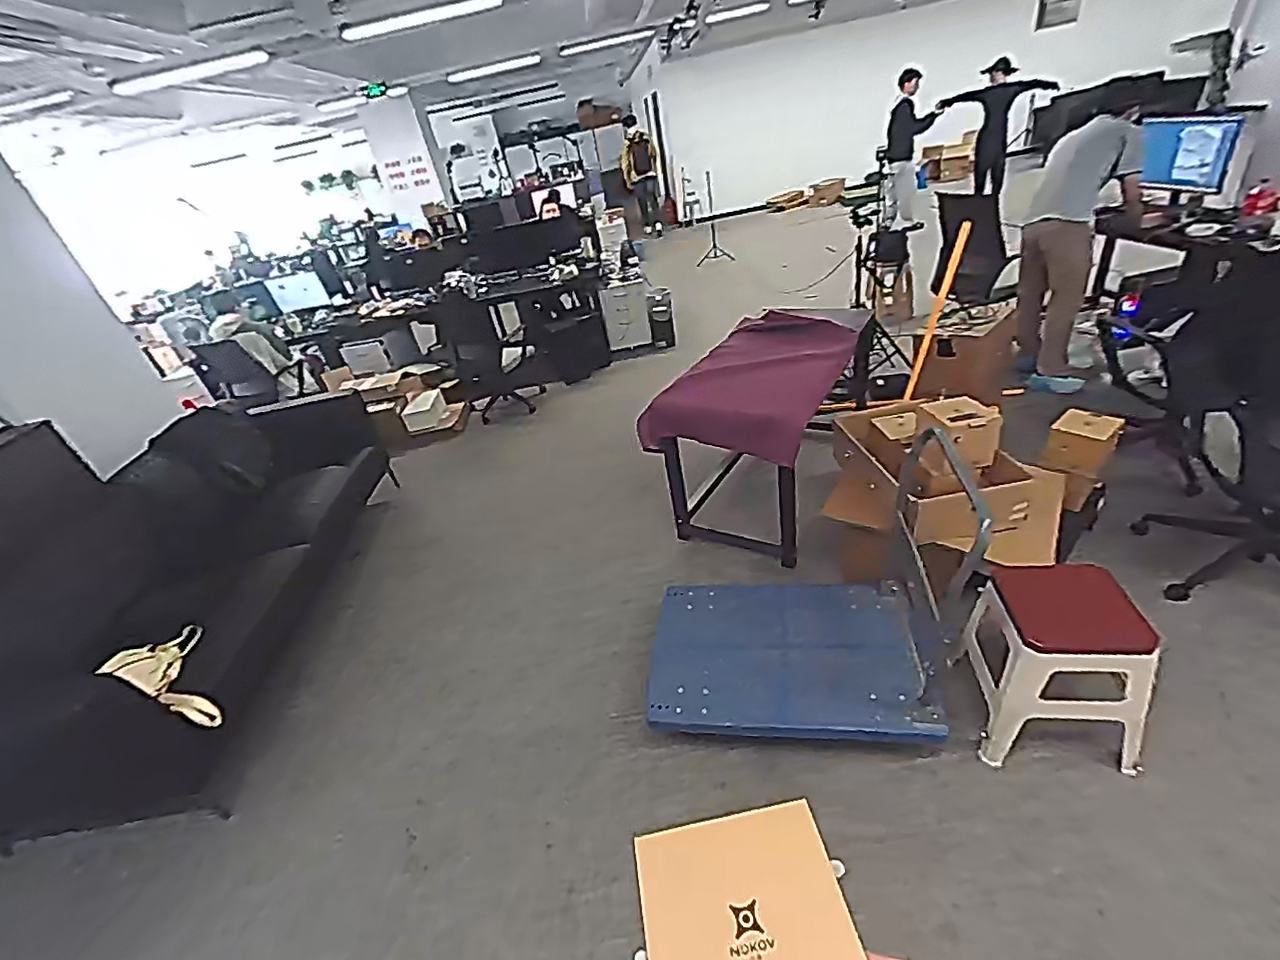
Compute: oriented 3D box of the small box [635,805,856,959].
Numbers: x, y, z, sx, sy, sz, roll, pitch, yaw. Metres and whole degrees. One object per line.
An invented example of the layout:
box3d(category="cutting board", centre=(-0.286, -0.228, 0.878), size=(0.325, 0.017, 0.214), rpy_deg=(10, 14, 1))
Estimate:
box3d(category="small box", centre=(0.095, 0.433, 0.481), size=(0.168, 0.176, 0.179), rpy_deg=(-12, 34, -1))
